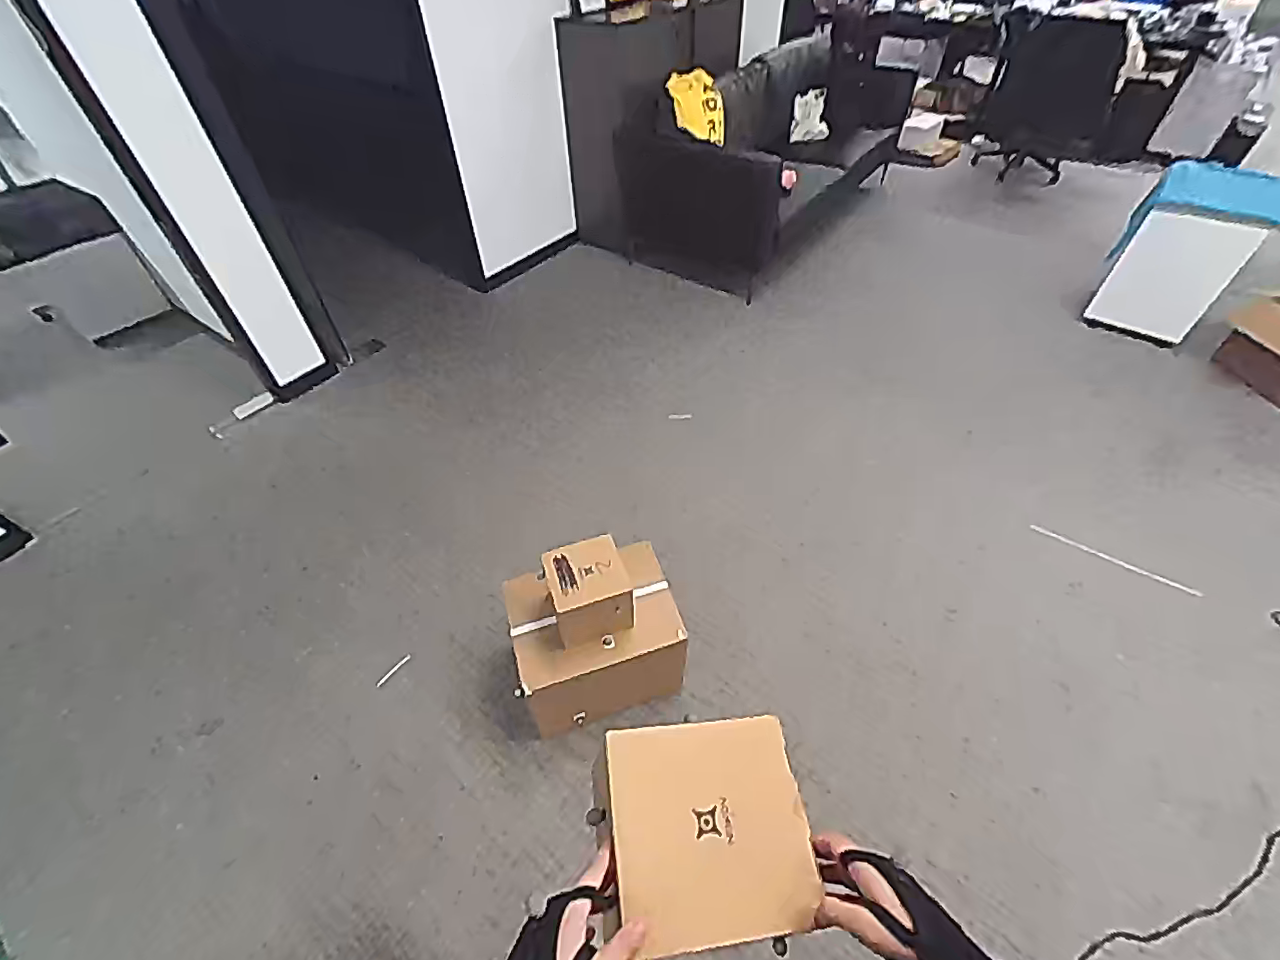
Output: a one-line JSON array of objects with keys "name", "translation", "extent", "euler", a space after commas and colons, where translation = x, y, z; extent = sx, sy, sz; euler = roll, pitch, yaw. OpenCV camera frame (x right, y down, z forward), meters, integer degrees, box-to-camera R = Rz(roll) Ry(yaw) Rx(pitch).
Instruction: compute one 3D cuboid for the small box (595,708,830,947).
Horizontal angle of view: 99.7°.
[{"name": "small box", "translation": [0.050, 0.341, 0.532], "extent": [0.179, 0.176, 0.168], "euler": [0, 51, -12]}]
